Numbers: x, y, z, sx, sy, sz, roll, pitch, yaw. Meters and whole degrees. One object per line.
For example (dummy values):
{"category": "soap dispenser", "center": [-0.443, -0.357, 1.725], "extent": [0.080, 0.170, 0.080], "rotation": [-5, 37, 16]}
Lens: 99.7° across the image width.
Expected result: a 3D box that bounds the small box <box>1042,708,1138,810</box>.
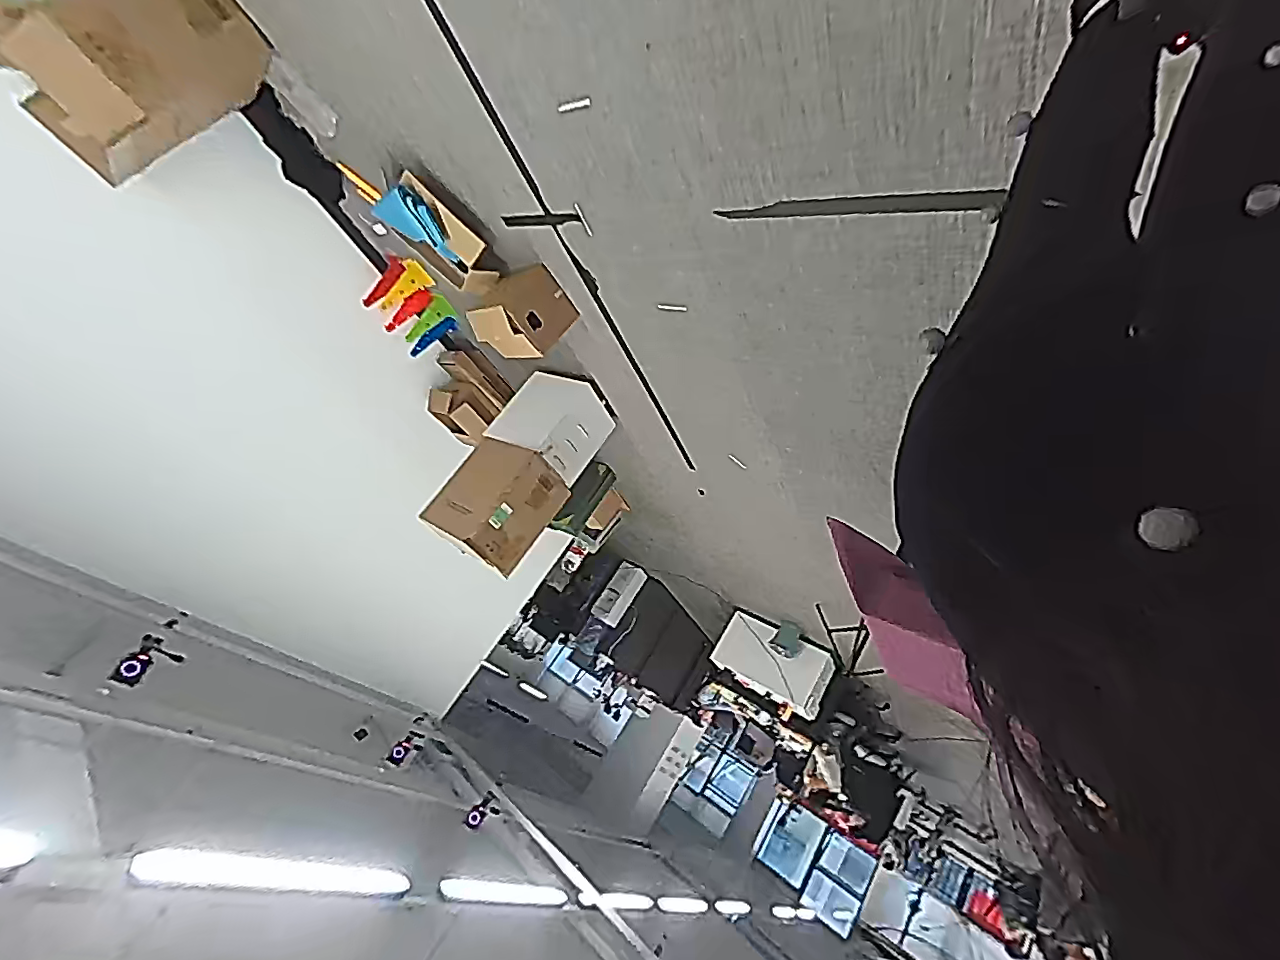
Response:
{"category": "small box", "center": [1.233, 0.761, 1.485], "extent": [0.168, 0.176, 0.179], "rotation": [17, 153, 43]}
